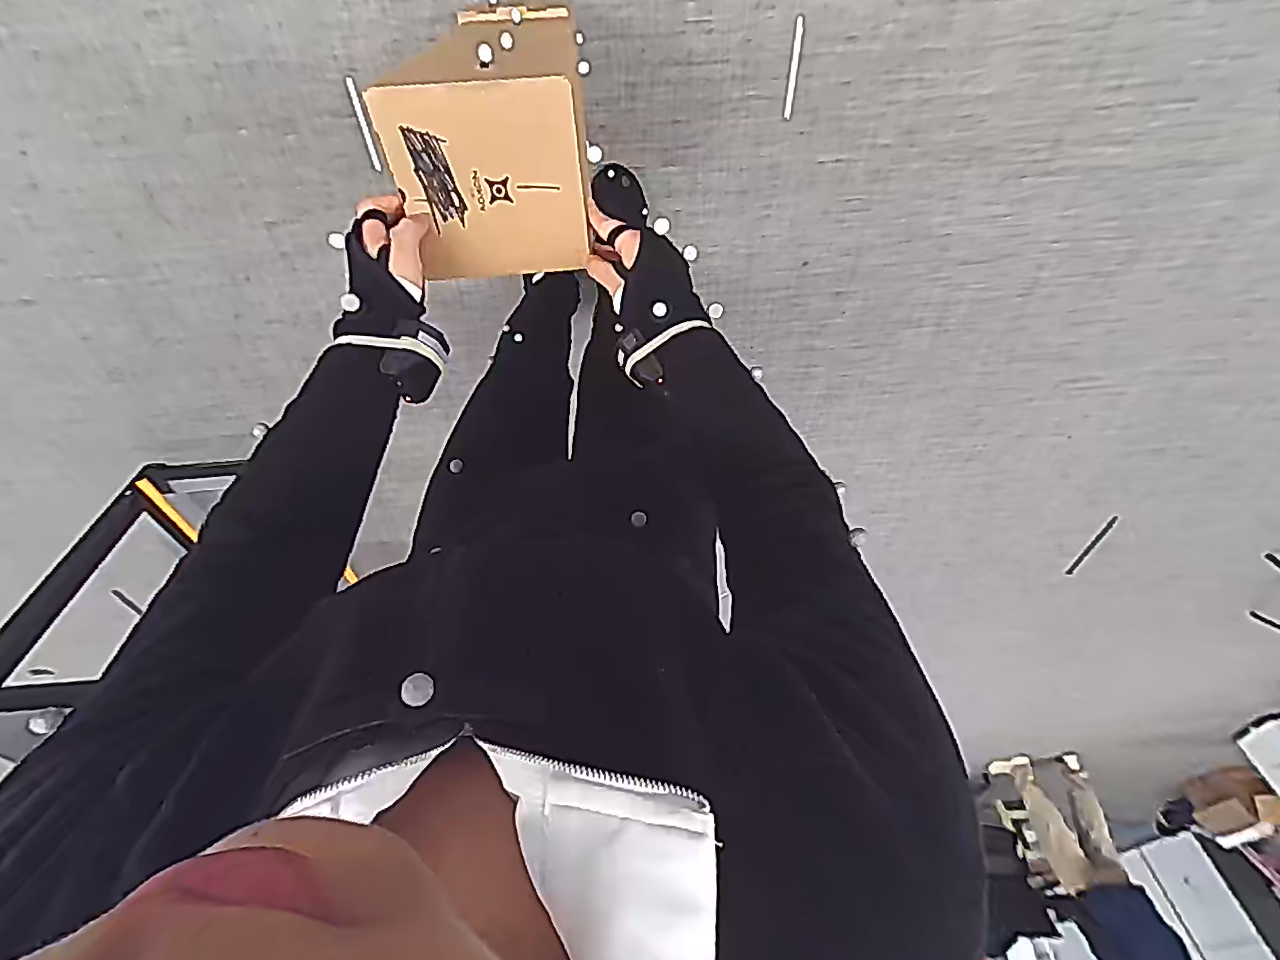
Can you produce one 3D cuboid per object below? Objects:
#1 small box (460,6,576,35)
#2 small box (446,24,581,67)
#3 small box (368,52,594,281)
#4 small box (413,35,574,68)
[{"bbox_3d":[-0.187,-0.674,0.905,0.168,0.176,0.179,-3,136,0],"label":"small box"},{"bbox_3d":[-0.169,-0.552,0.795,0.168,0.176,0.179,-3,135,-1],"label":"small box"},{"bbox_3d":[-0.142,-0.324,0.559,0.179,0.176,0.168,-4,136,-1],"label":"small box"},{"bbox_3d":[-0.159,-0.435,0.681,0.168,0.176,0.179,-3,136,-2],"label":"small box"}]
